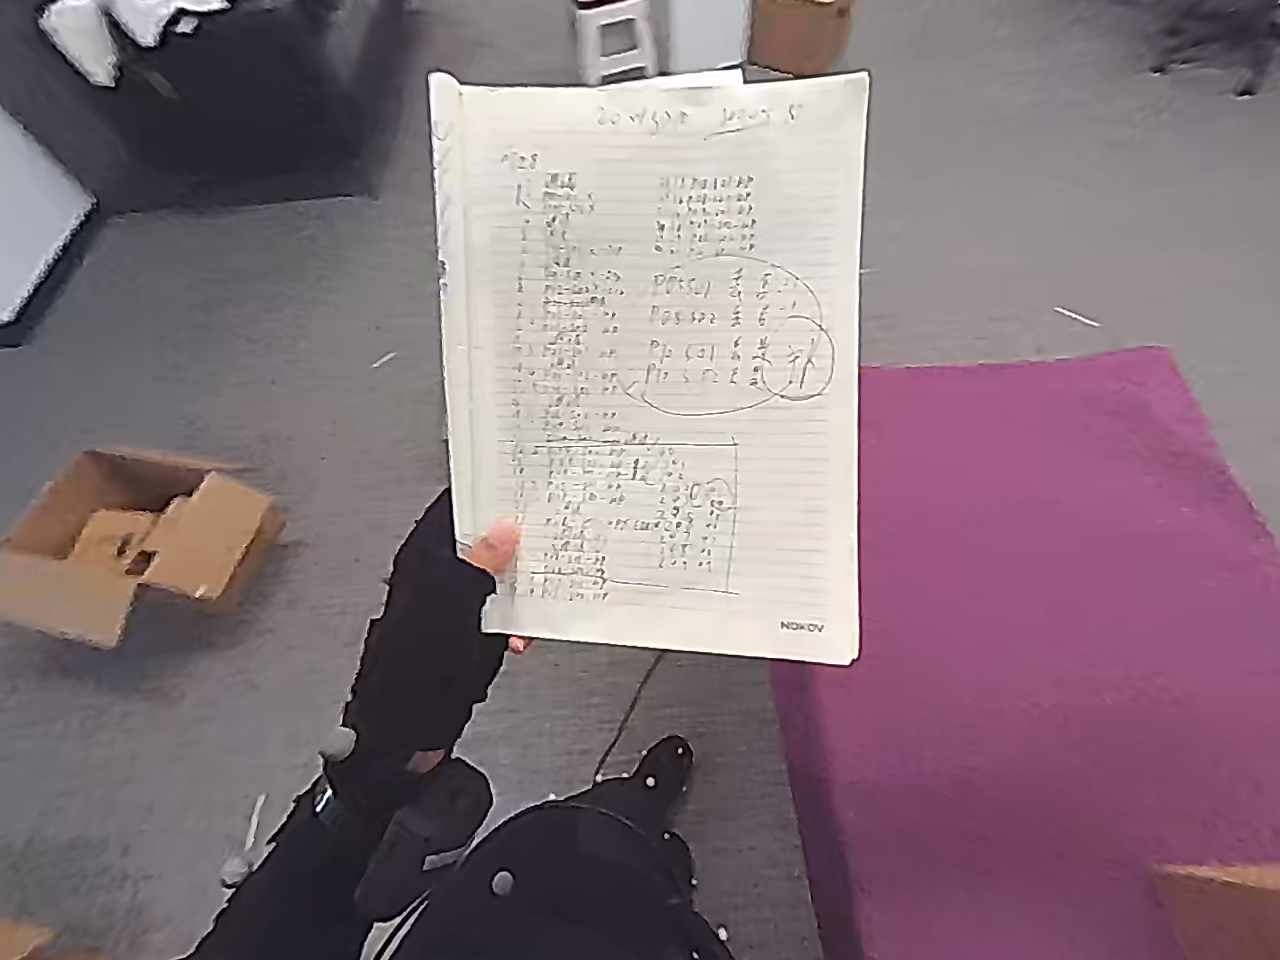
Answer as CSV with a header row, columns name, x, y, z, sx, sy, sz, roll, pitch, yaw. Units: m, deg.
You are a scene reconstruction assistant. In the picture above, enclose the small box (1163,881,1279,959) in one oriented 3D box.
name,x,y,z,sx,sy,sz,roll,pitch,yaw
small box,0.591,0.426,0.422,0.179,0.176,0.168,-2,60,4
